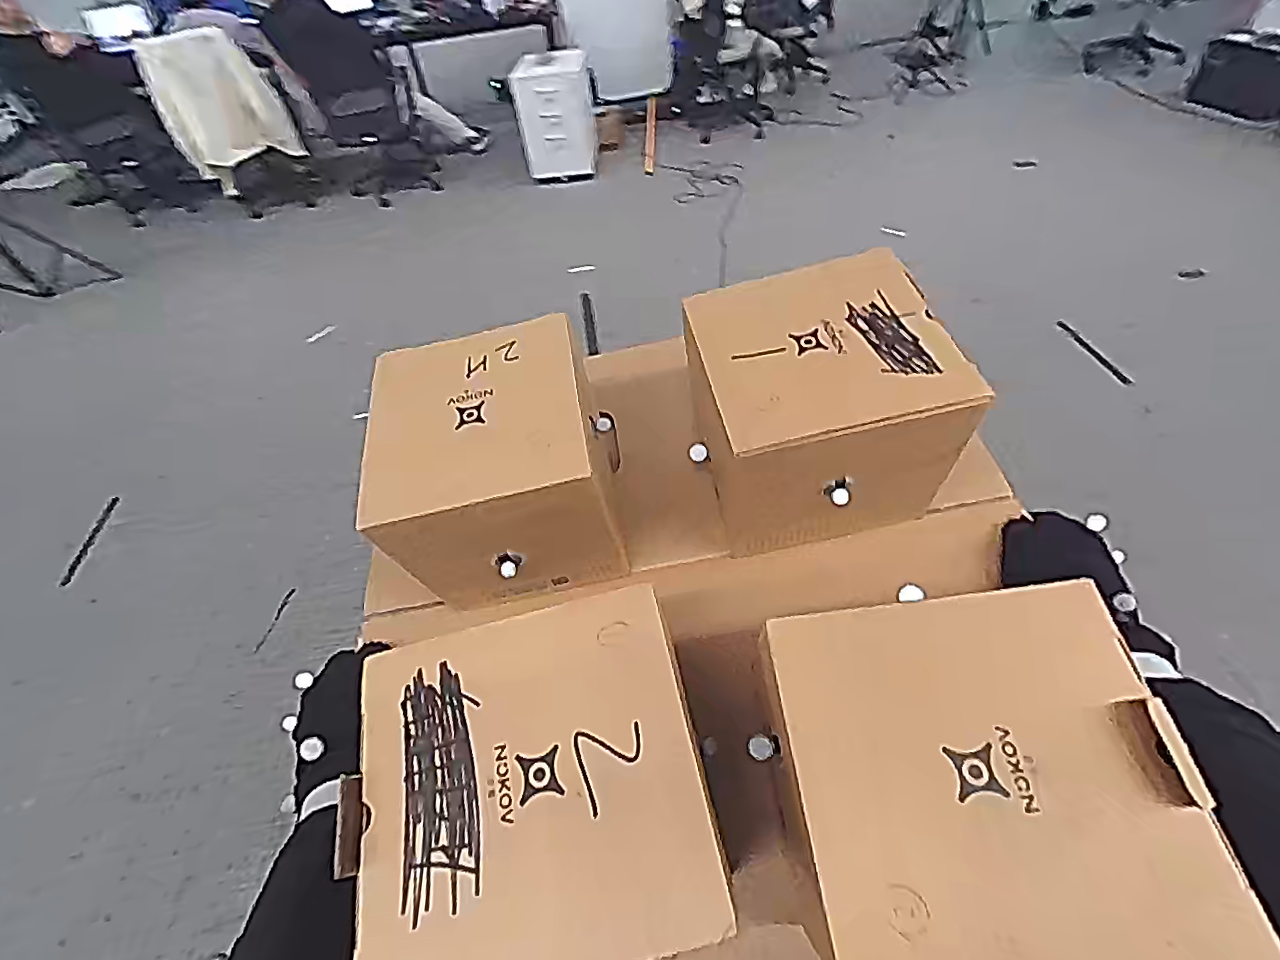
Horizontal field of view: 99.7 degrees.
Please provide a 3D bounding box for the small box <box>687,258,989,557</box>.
[{"bbox_3d":[0.145,-0.052,0.464,0.179,0.176,0.168,-12,56,3],"label":"small box"}]

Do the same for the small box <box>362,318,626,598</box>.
[{"bbox_3d":[-0.113,-0.008,0.481,0.168,0.176,0.179,-11,55,2],"label":"small box"}]
